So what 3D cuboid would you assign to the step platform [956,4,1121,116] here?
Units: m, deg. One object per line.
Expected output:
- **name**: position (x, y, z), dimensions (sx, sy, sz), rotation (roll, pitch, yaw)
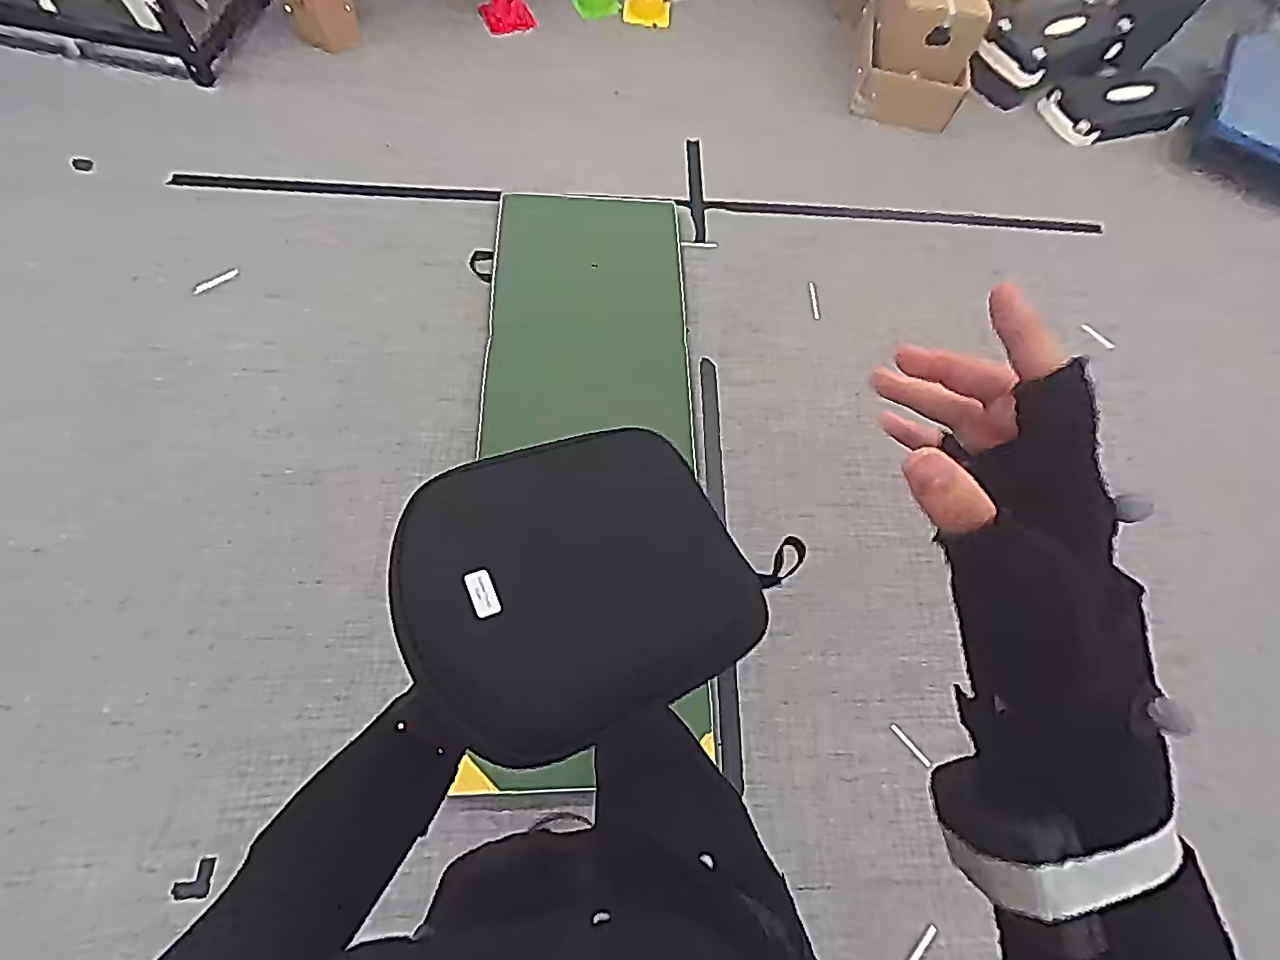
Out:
- **step platform**: position (1.758, -1.856, 2.380), dimensions (0.684, 0.204, 0.286), rotation (-27, 73, -15)
